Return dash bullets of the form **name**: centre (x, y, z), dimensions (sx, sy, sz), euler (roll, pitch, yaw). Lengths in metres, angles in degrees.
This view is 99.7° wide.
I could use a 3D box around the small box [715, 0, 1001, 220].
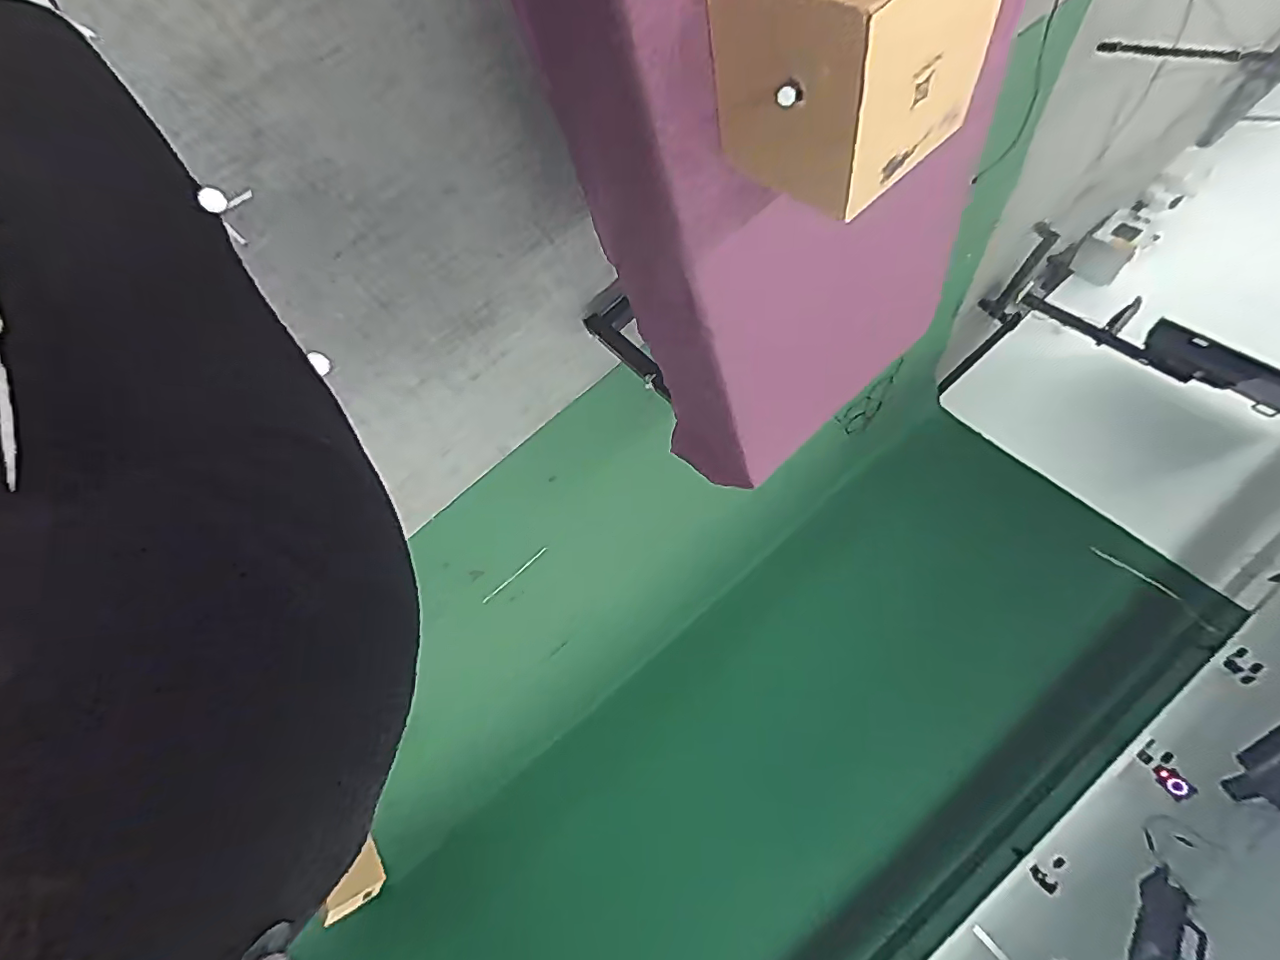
- **small box**: centre (0.182, -0.381, 0.479), dimensions (0.168, 0.176, 0.179), euler (-40, 152, -5)
